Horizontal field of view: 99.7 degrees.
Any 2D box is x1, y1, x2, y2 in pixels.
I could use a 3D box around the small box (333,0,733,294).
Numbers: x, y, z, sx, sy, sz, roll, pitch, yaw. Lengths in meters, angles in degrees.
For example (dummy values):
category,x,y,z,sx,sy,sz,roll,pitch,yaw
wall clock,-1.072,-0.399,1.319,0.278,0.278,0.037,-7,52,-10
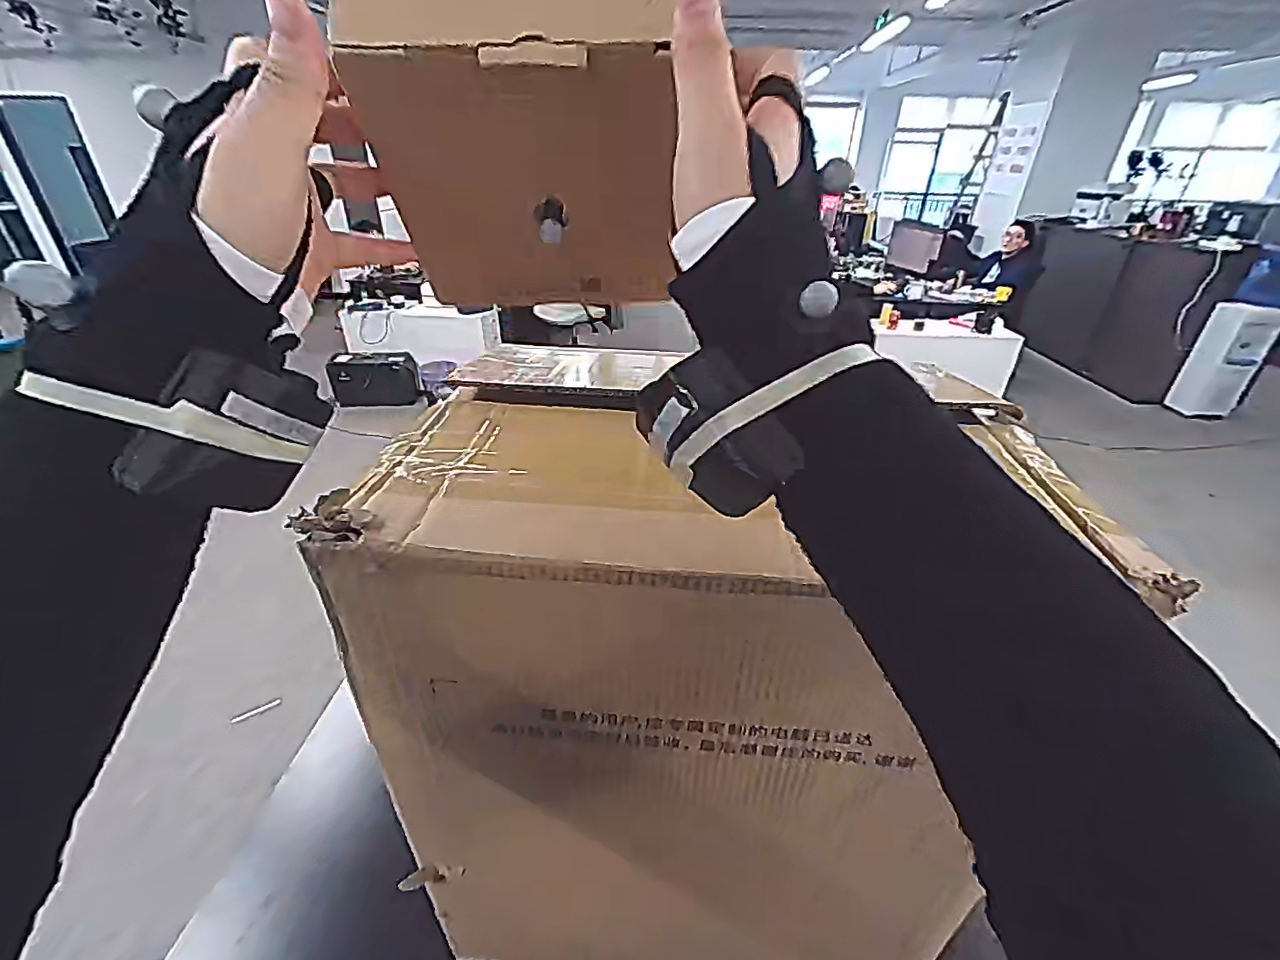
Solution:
category,x,y,z,sx,sy,sz,roll,pitch,yaw
small box,-0.051,-0.227,0.317,0.168,0.176,0.179,-3,73,-5
